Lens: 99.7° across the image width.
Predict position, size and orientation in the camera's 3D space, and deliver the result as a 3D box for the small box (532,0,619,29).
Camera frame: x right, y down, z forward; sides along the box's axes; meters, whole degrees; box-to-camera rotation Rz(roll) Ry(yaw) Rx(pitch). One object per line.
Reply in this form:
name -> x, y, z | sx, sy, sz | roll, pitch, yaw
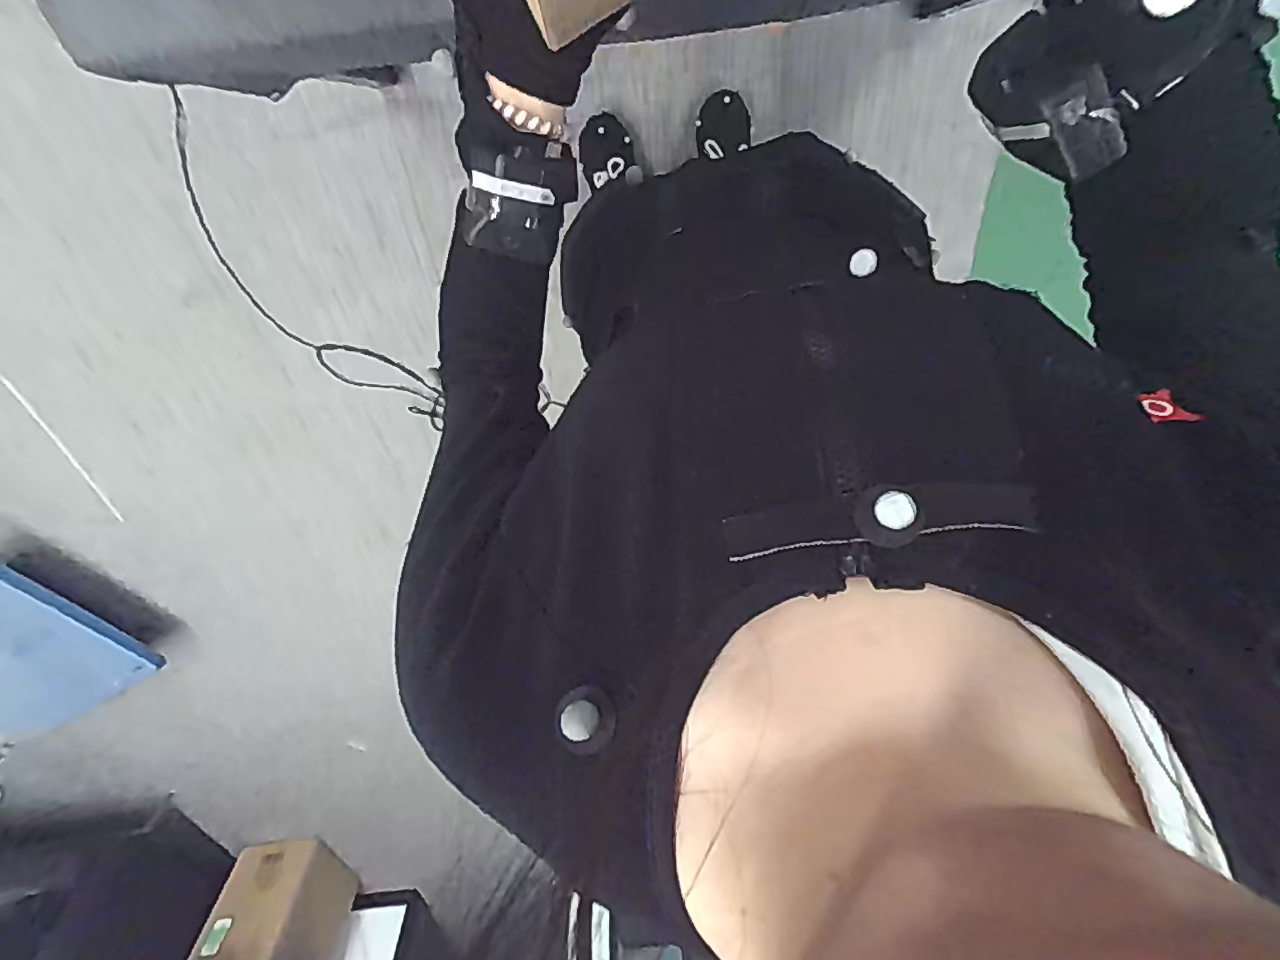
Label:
small box -> -0.008, -0.303, 0.175 | 0.168, 0.176, 0.179 | -26, 118, 8
